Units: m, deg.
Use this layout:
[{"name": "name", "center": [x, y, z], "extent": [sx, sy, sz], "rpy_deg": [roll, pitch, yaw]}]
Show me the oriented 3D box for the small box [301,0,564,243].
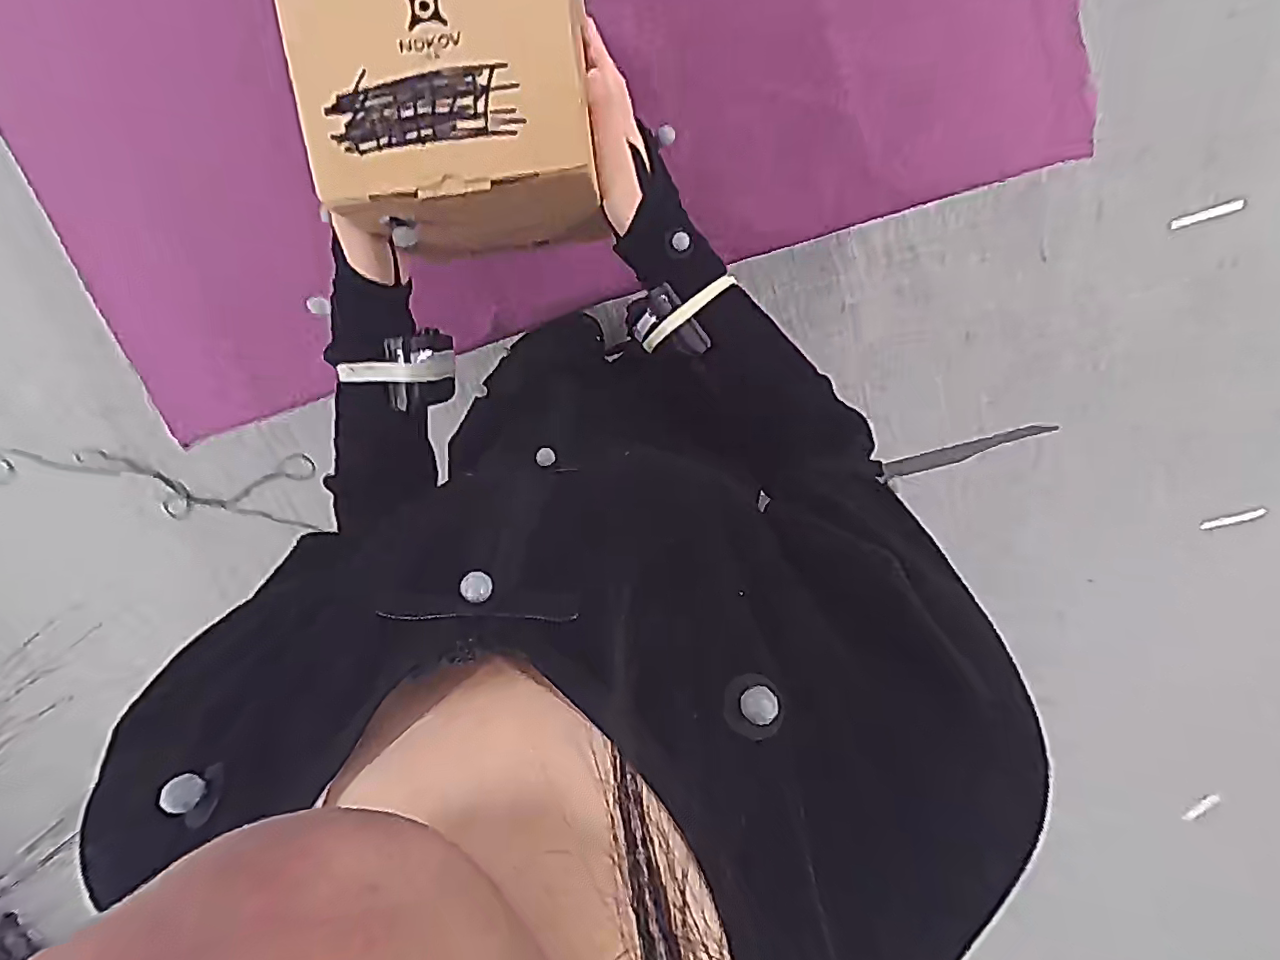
[{"name": "small box", "center": [-0.192, -0.366, 0.559], "extent": [0.168, 0.176, 0.179], "rpy_deg": [-14, 106, 8]}]
